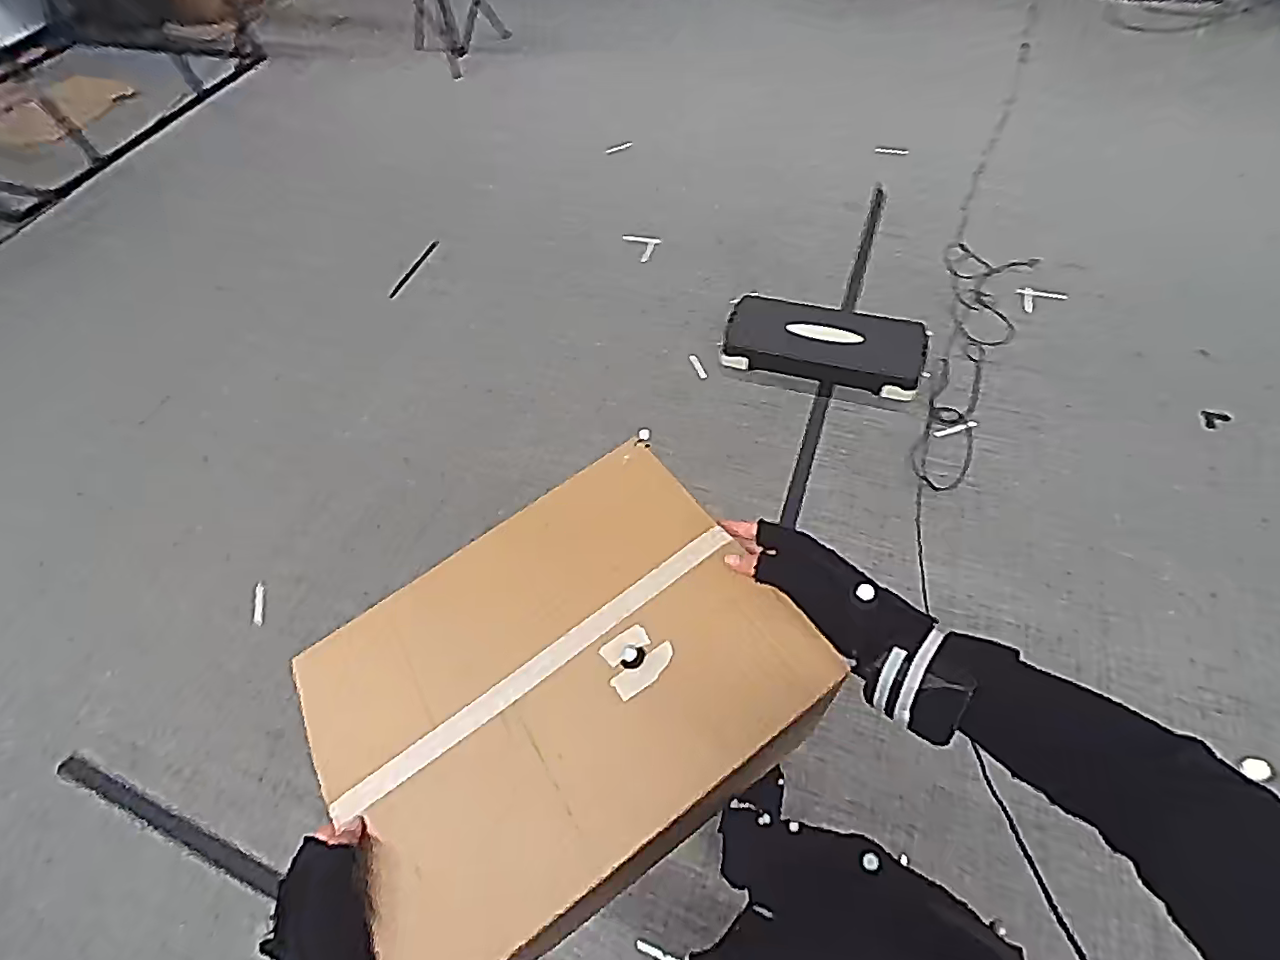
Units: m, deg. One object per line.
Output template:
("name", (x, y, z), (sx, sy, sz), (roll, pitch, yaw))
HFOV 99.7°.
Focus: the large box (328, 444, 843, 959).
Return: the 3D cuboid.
("large box", (-0.046, 0.243, 0.616), (0.408, 0.320, 0.320), (-33, 57, -11))
